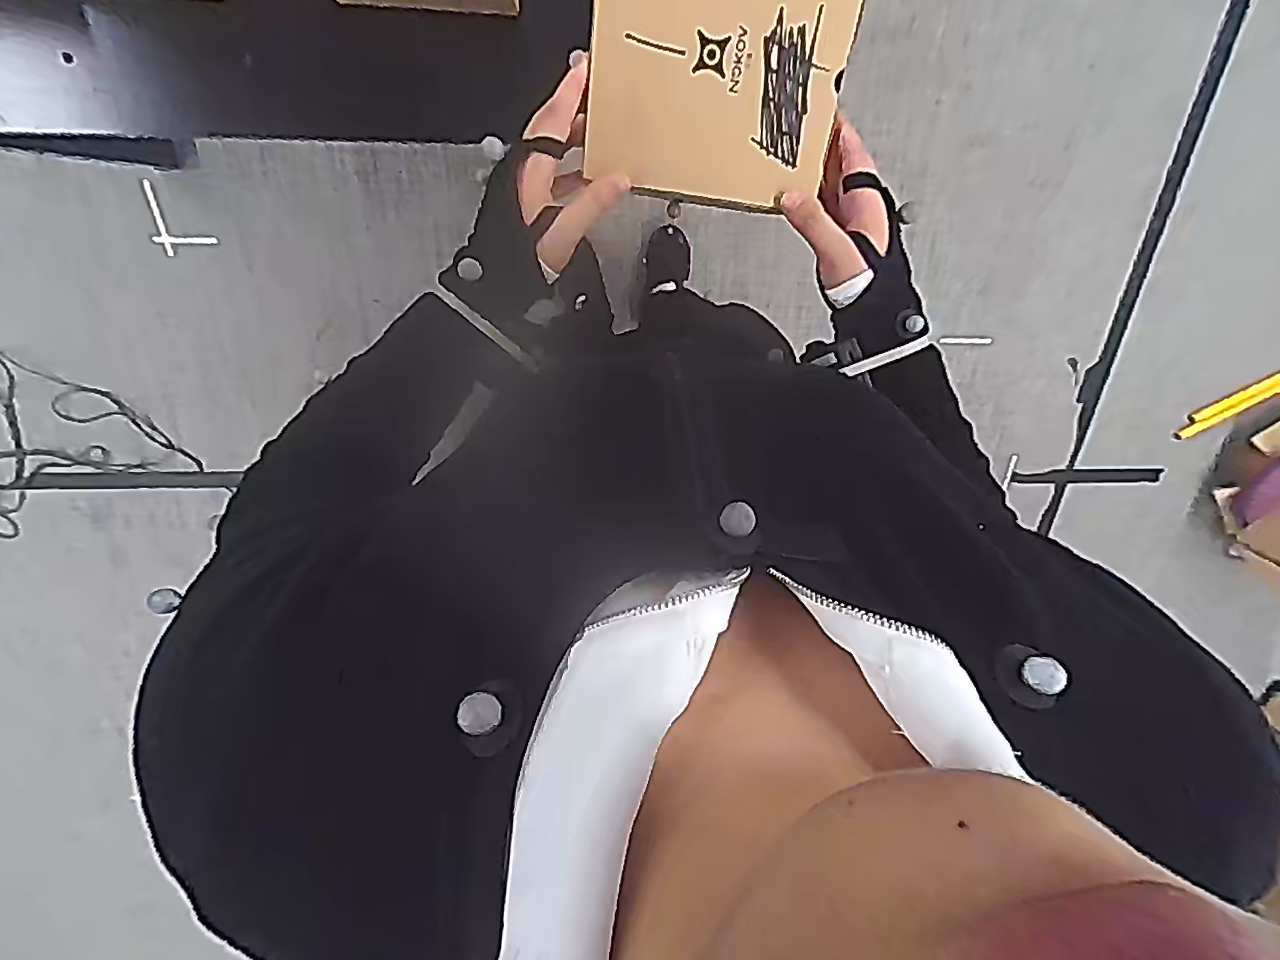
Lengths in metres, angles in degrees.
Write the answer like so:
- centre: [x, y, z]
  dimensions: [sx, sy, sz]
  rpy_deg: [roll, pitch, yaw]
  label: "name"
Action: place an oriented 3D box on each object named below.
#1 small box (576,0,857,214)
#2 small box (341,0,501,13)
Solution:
- centre: [0.044, -0.317, 0.431]
  dimensions: [0.179, 0.176, 0.168]
  rpy_deg: [5, 116, -7]
  label: "small box"
- centre: [-0.201, -0.504, 0.428]
  dimensions: [0.179, 0.176, 0.168]
  rpy_deg: [-1, 114, -4]
  label: "small box"
